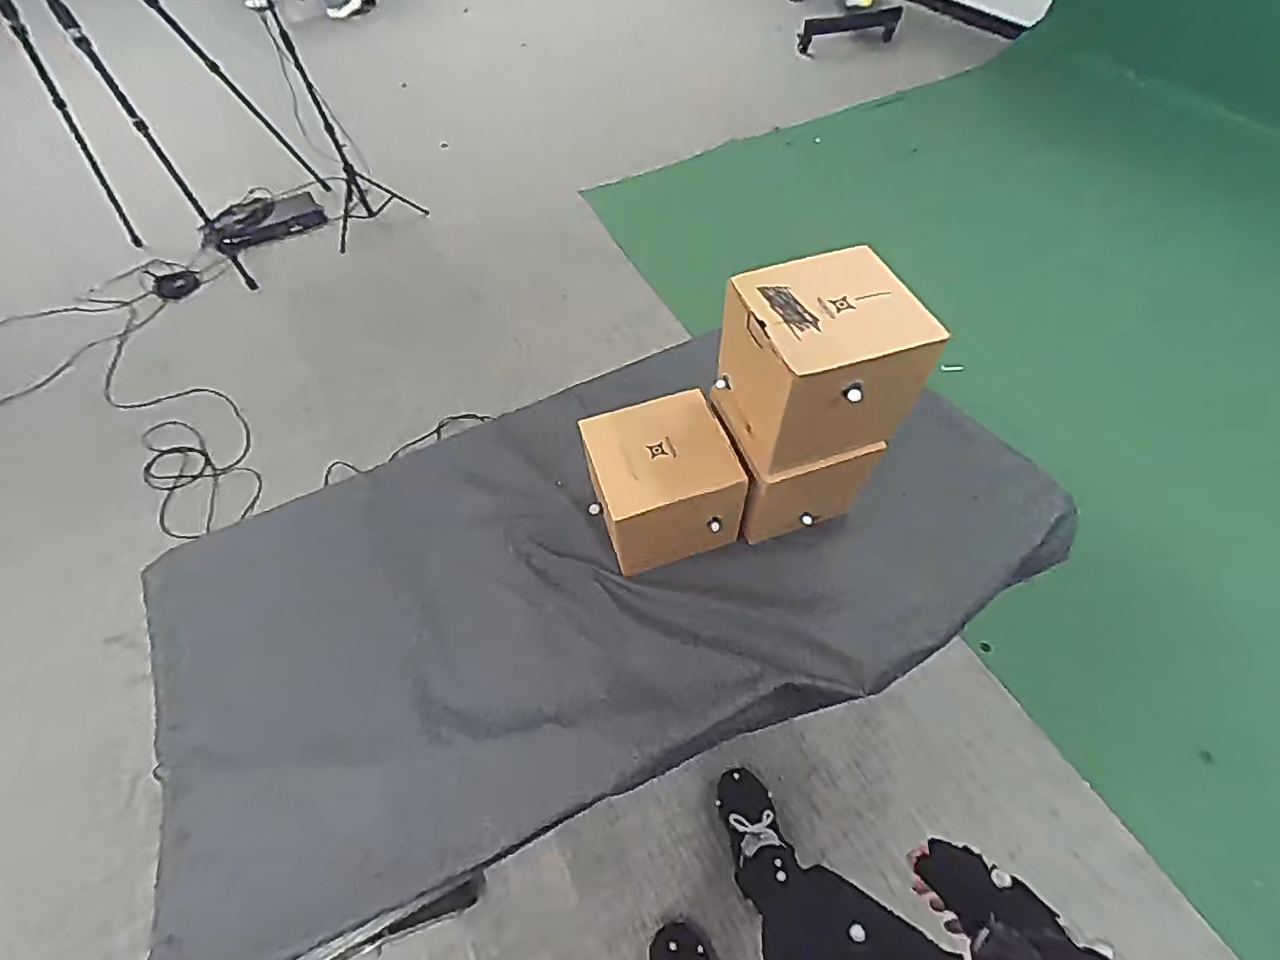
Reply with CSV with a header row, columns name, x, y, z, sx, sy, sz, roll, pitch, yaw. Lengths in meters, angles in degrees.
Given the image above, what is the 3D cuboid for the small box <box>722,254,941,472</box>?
name,x,y,z,sx,sy,sz,roll,pitch,yaw
small box,0.205,-0.132,0.644,0.179,0.176,0.168,-16,58,-8
